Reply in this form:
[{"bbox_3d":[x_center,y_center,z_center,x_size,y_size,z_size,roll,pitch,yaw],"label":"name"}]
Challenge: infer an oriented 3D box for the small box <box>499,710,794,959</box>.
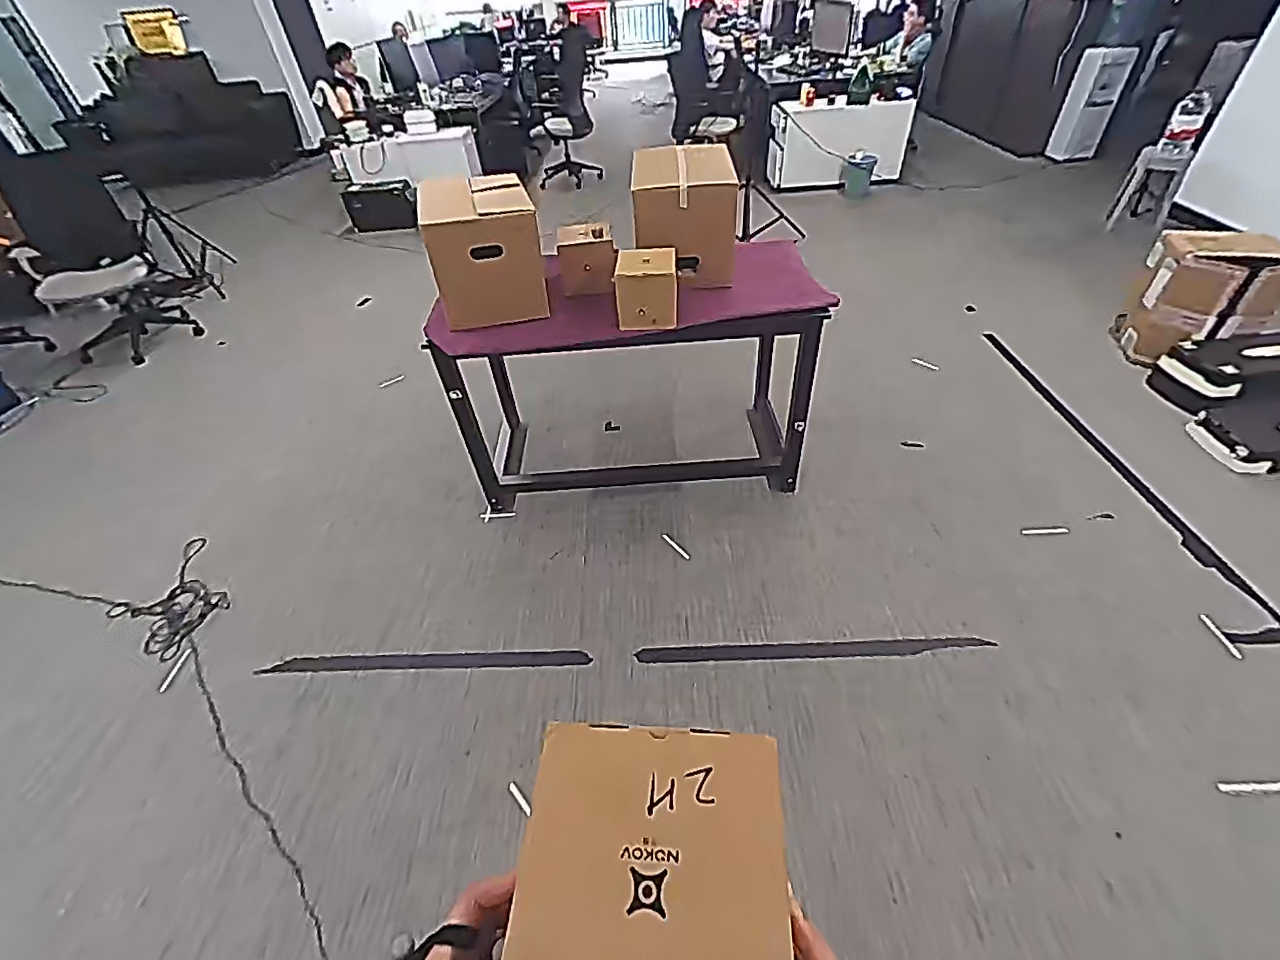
[{"bbox_3d":[0.015,0.287,0.383,0.168,0.176,0.179,1,45,7],"label":"small box"}]
